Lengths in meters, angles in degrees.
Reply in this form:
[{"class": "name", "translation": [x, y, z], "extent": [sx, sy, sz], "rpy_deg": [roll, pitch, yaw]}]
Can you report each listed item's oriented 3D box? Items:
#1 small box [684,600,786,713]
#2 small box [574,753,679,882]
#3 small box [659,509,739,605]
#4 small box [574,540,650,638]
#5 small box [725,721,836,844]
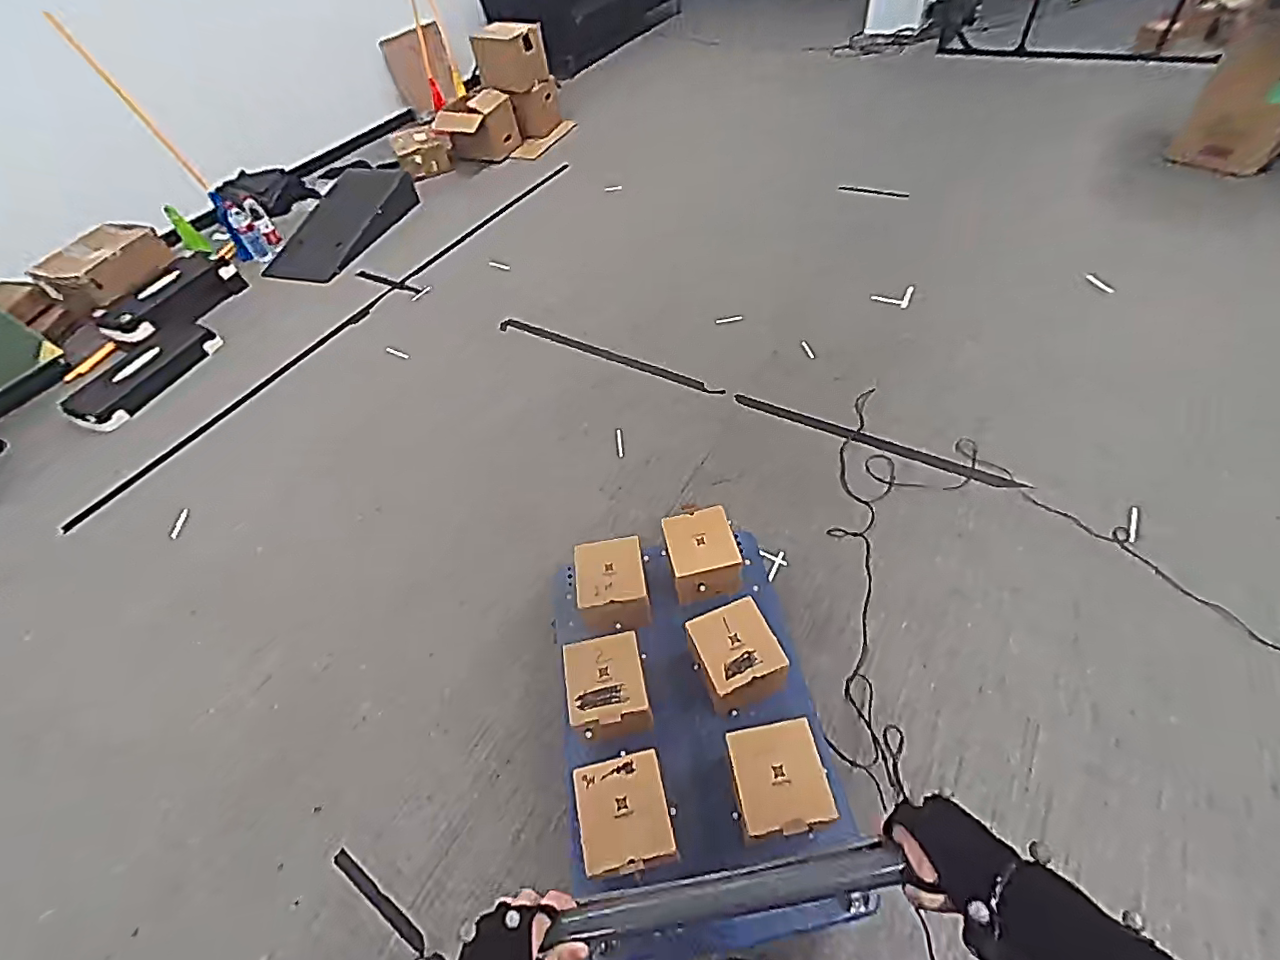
[{"class": "small box", "translation": [0.212, 0.409, 1.231], "extent": [0.168, 0.176, 0.179], "rpy_deg": [-20, 50, -9]}, {"class": "small box", "translation": [-0.024, 0.663, 1.059], "extent": [0.168, 0.176, 0.179], "rpy_deg": [-13, 51, -4]}, {"class": "small box", "translation": [0.153, 0.207, 1.404], "extent": [0.168, 0.176, 0.179], "rpy_deg": [-13, 51, -3]}, {"class": "small box", "translation": [-0.069, 0.278, 1.373], "extent": [0.168, 0.176, 0.179], "rpy_deg": [-10, 52, 0]}, {"class": "small box", "translation": [0.268, 0.603, 1.069], "extent": [0.168, 0.176, 0.179], "rpy_deg": [-10, 50, -1]}]
